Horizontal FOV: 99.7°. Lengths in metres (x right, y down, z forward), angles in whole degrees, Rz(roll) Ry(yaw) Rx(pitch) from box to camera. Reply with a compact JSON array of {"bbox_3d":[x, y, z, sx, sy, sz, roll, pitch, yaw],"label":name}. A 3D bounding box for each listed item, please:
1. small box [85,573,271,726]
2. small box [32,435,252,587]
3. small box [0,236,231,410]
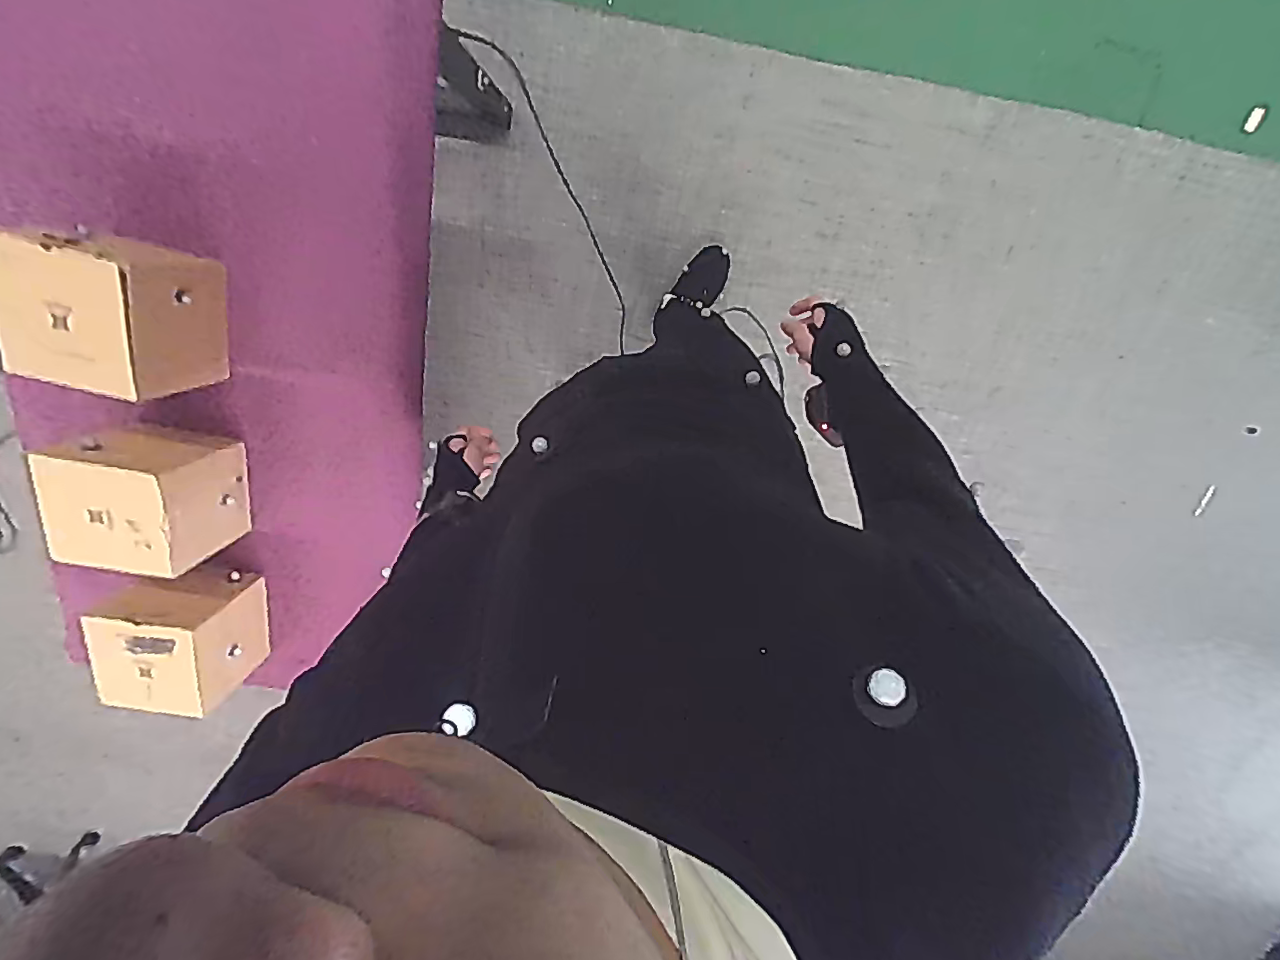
[{"bbox_3d":[-0.762,0.277,0.913,0.168,0.176,0.179,9,111,-3],"label":"small box"},{"bbox_3d":[-0.740,0.037,0.826,0.179,0.176,0.168,10,110,-3],"label":"small box"},{"bbox_3d":[-0.697,-0.214,0.735,0.168,0.176,0.179,14,110,-4],"label":"small box"}]
